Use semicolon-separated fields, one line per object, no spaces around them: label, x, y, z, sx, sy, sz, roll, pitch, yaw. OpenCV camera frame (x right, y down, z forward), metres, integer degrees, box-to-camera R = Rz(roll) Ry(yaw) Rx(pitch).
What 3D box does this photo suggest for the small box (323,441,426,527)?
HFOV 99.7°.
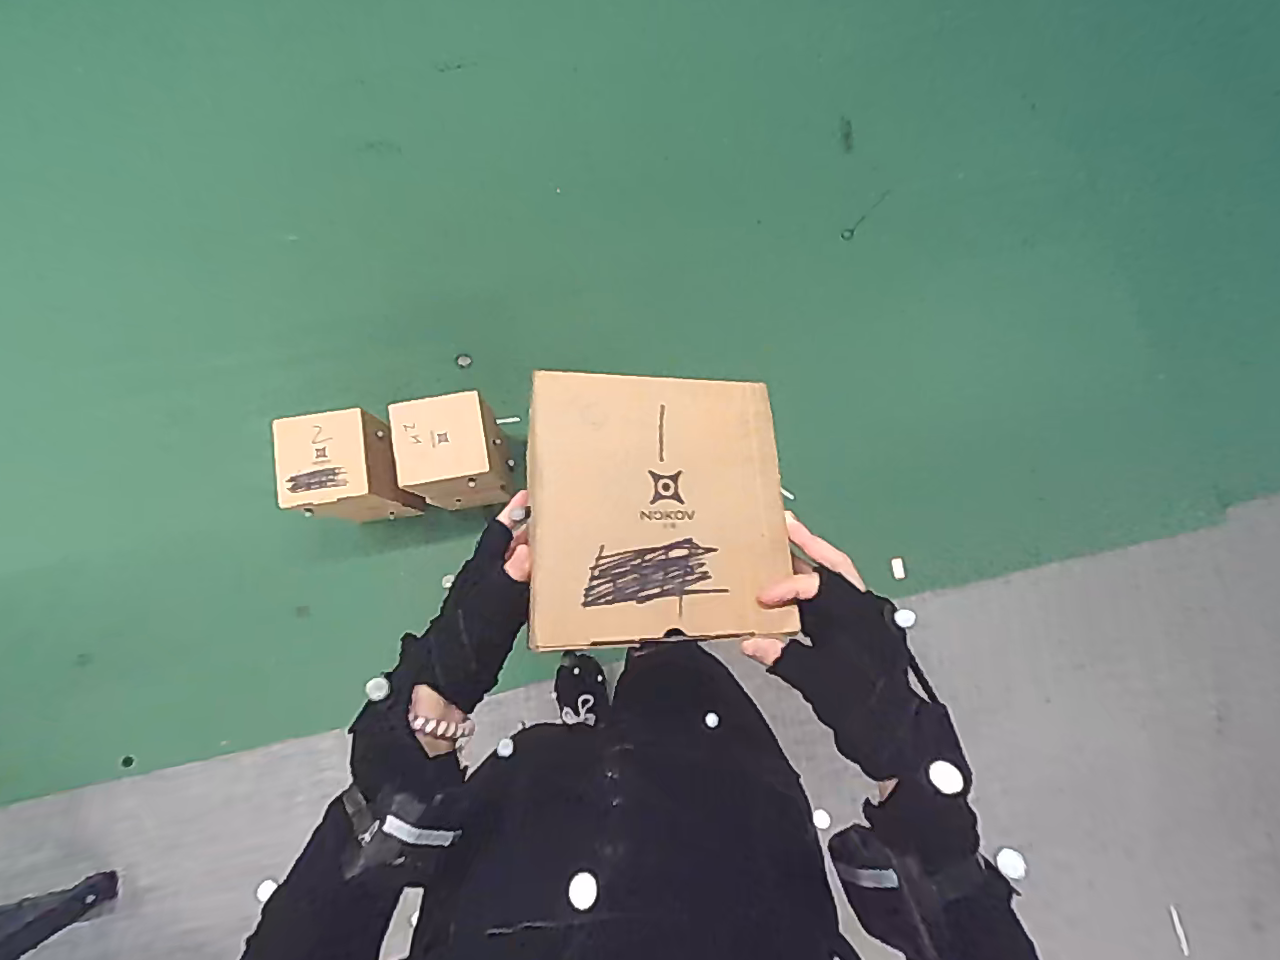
small box;-0.617;0.017;1.273;0.168;0.176;0.179;-7;81;-4
